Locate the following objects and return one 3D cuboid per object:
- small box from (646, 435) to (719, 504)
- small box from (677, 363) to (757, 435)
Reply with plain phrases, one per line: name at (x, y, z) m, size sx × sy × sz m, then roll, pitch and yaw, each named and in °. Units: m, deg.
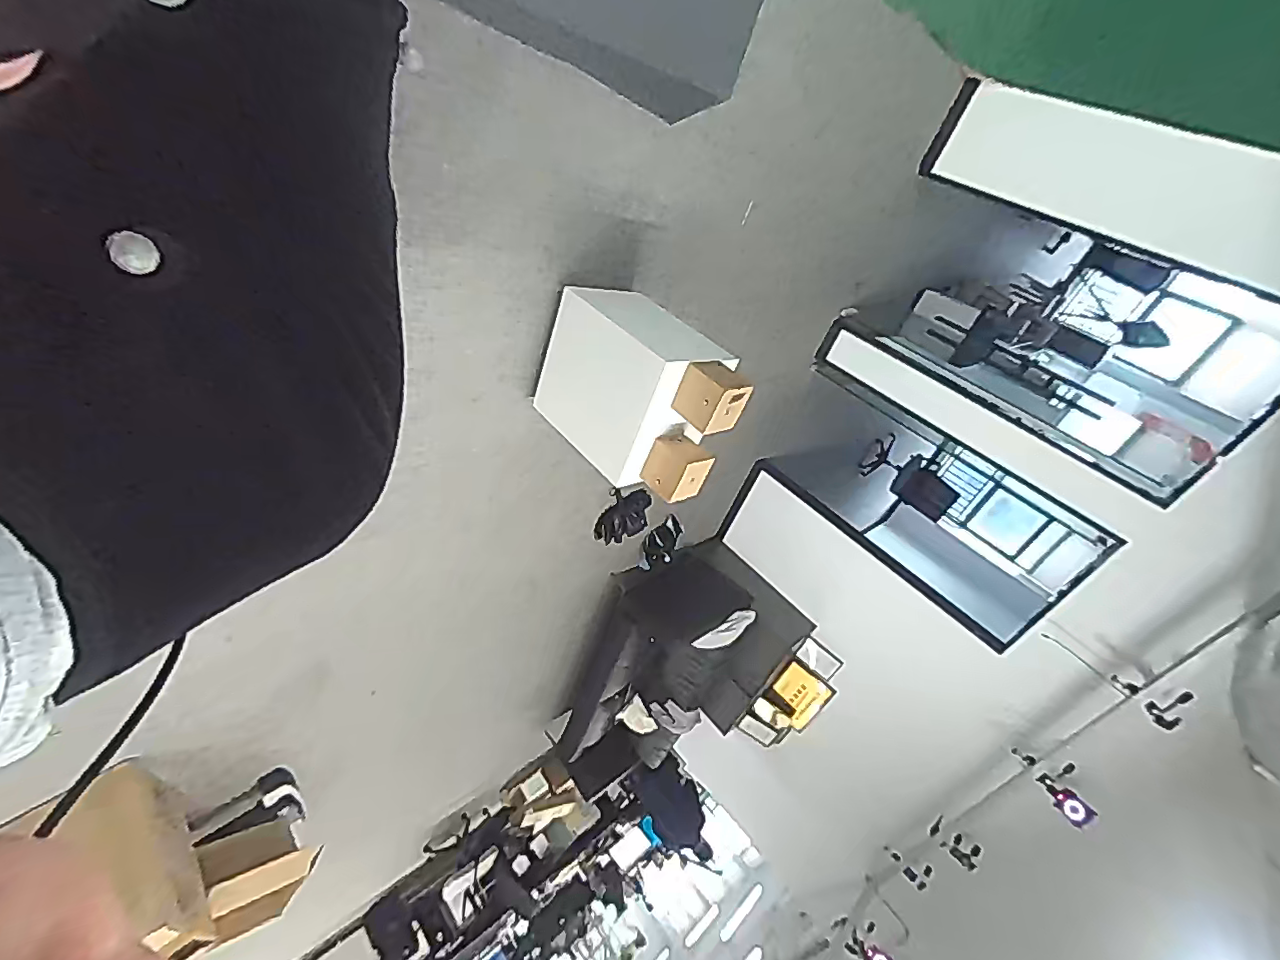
small box at (0.148, -0.043, 1.952) m, size 0.168 × 0.176 × 0.179 m, roll -14°, pitch 136°, yaw -46°
small box at (0.251, -0.276, 1.796) m, size 0.168 × 0.176 × 0.179 m, roll -16°, pitch 141°, yaw -43°
